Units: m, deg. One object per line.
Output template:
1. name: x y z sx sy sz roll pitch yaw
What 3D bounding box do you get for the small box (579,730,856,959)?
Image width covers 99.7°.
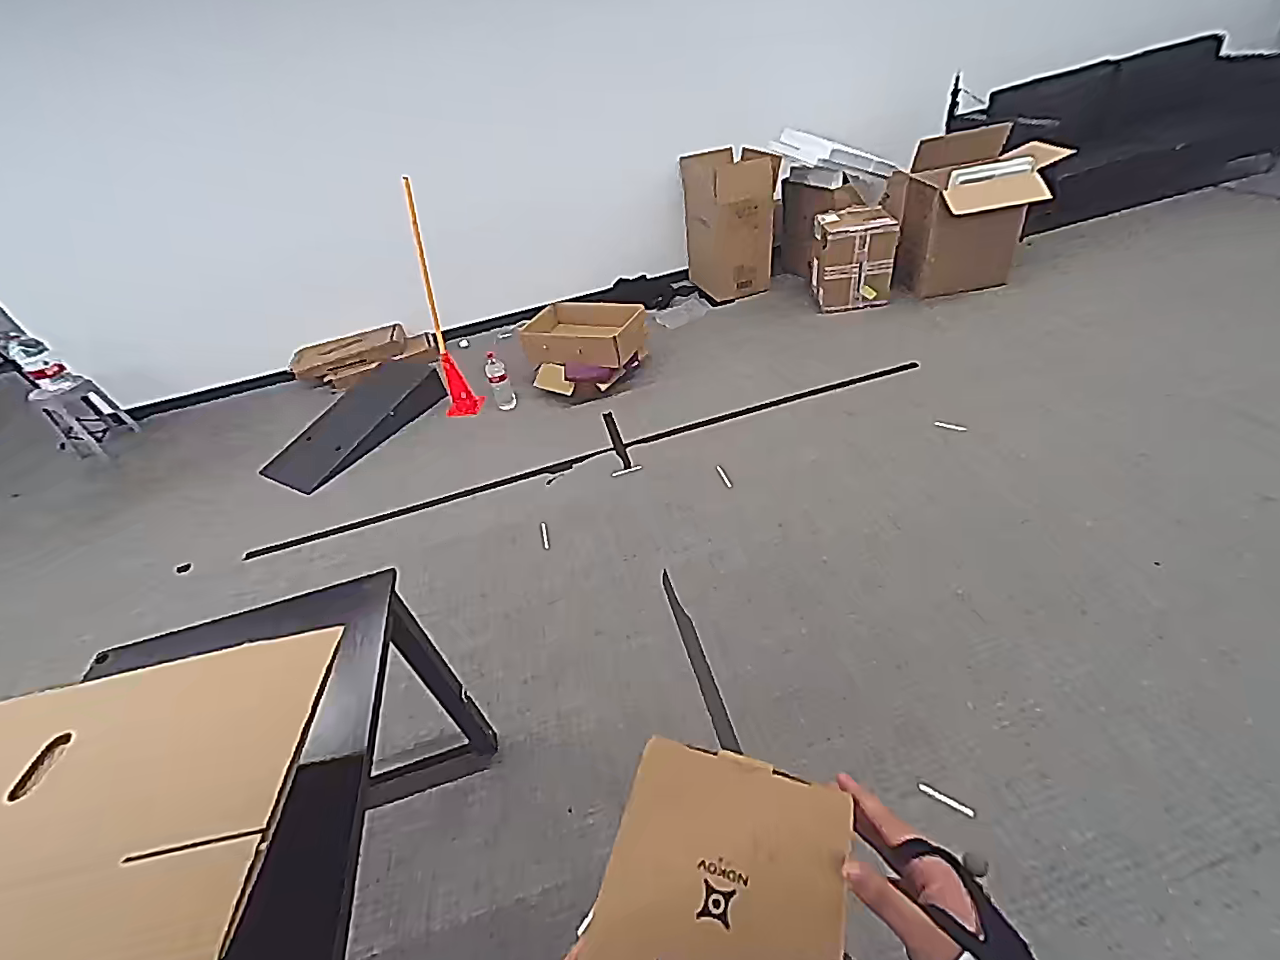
1. small box: 0.073 0.342 0.437 0.168 0.176 0.179 7 45 21
